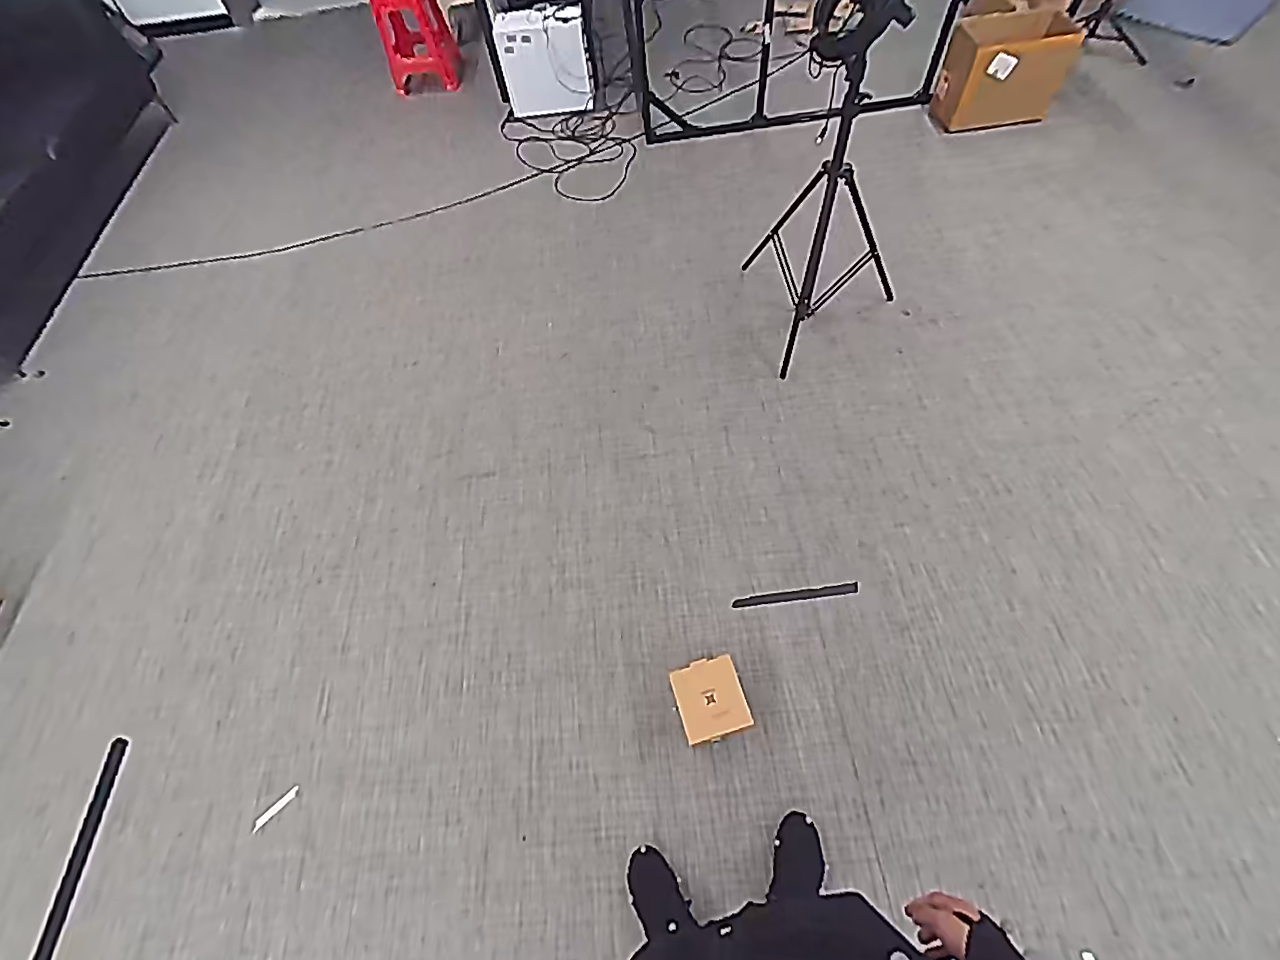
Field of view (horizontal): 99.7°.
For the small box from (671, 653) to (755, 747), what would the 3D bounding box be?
[{"bbox_3d":[0.183,0.569,1.391,0.168,0.176,0.179,-17,60,-2],"label":"small box"}]
